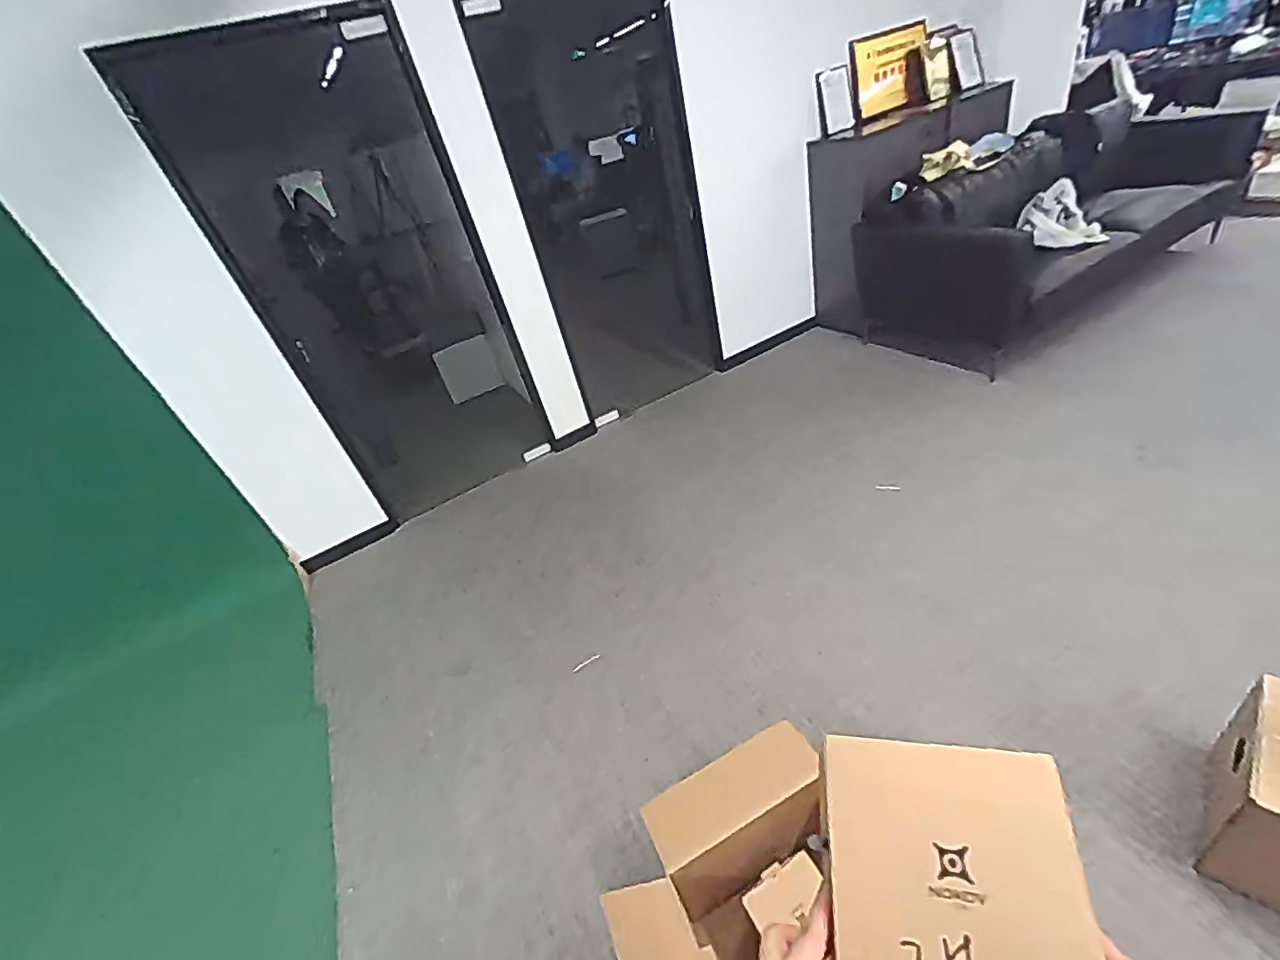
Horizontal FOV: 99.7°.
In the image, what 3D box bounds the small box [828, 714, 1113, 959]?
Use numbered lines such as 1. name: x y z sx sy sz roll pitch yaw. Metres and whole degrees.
1. small box: 0.251 0.316 0.456 0.168 0.176 0.179 -1 56 17
